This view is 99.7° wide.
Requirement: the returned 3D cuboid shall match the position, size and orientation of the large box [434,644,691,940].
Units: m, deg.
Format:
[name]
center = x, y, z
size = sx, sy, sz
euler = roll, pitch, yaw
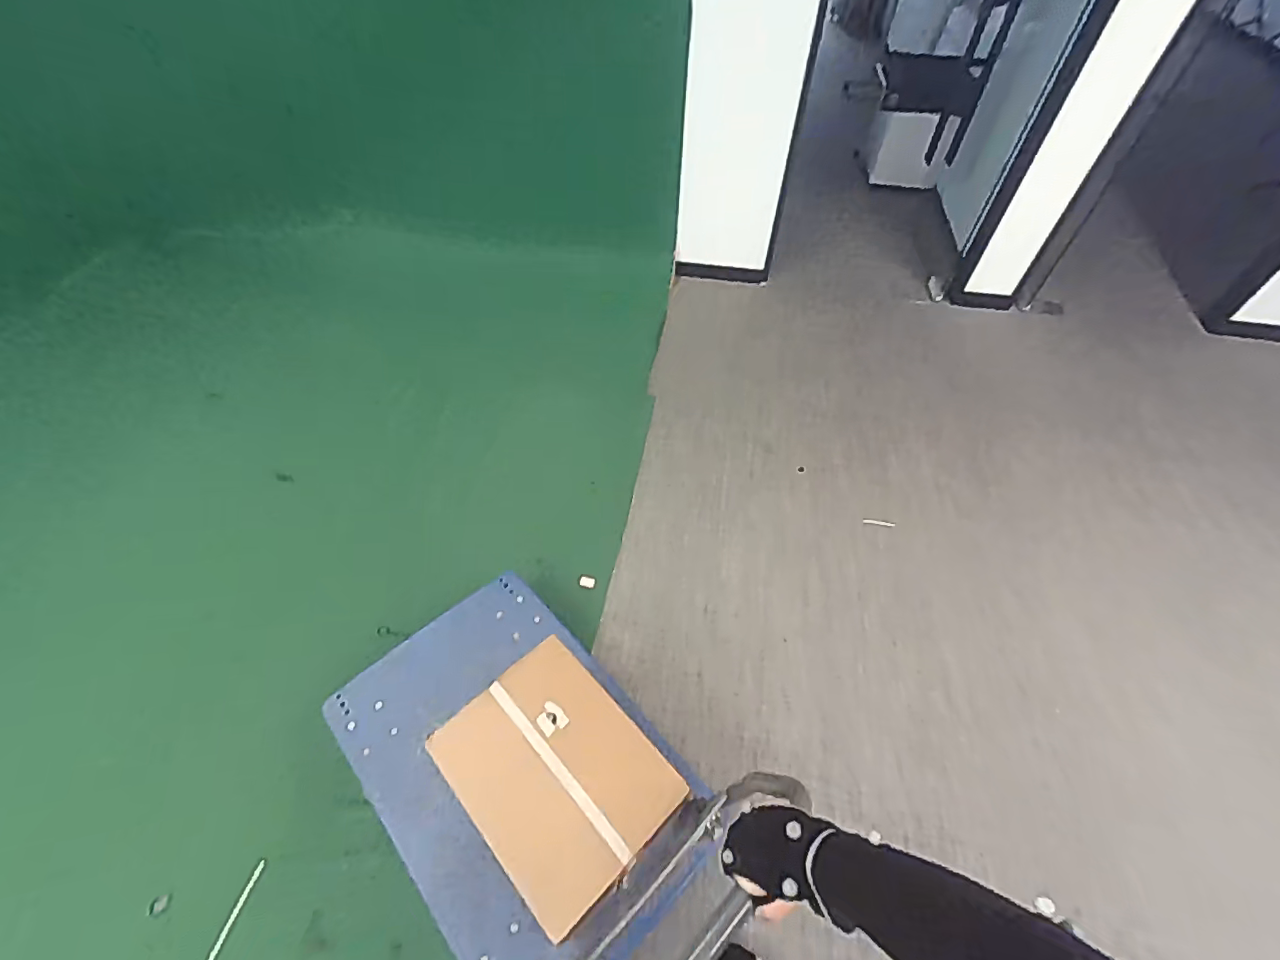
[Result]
[large box]
center = -0.147, 0.634, 1.123
size = 0.320, 0.320, 0.408
euler = -36, 60, -26
